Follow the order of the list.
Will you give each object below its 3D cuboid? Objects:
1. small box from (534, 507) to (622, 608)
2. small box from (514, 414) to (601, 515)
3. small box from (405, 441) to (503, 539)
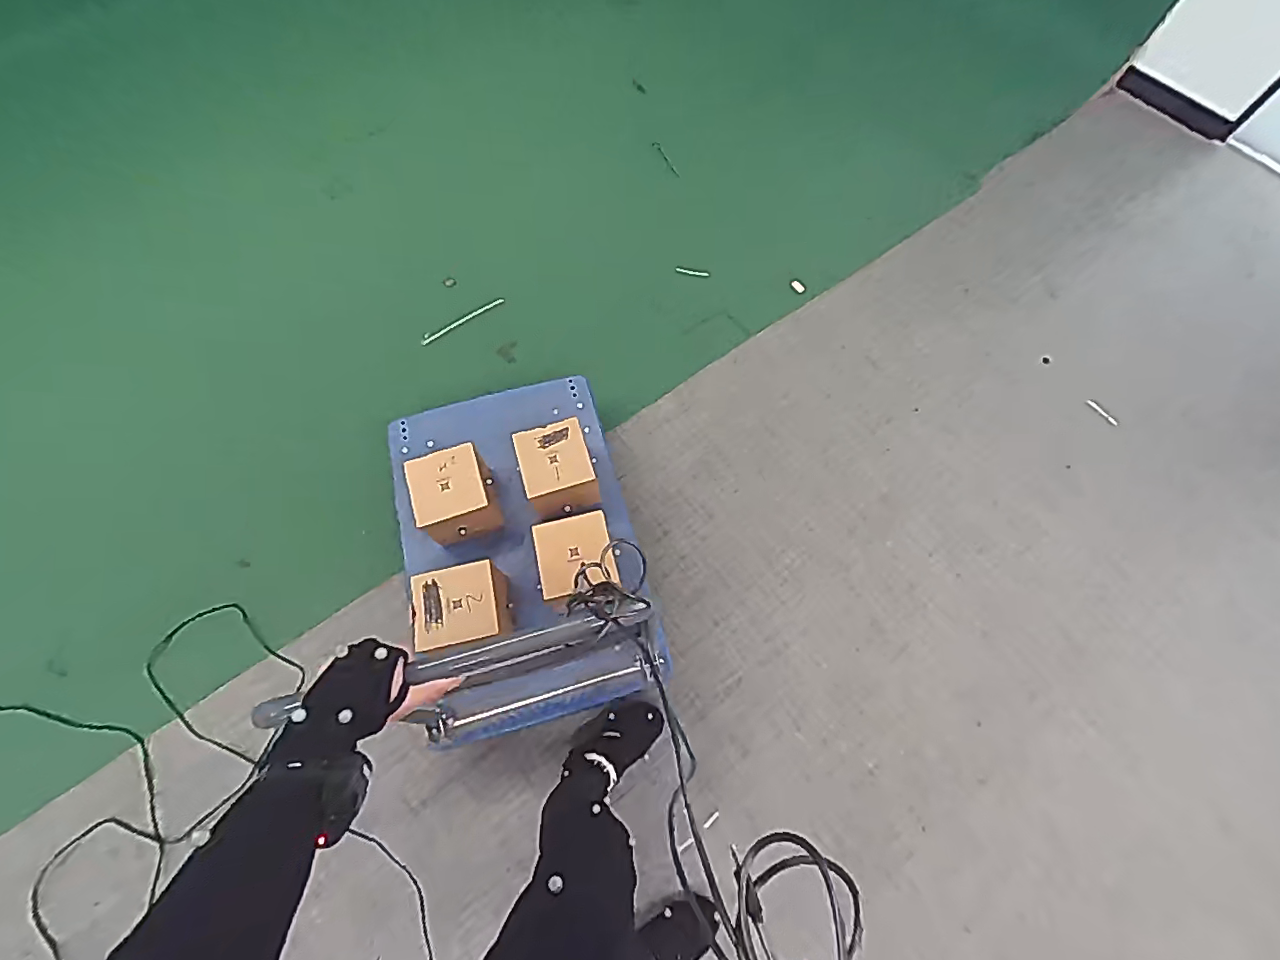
[{"bbox_3d":[-0.142,0.186,1.264,0.168,0.176,0.179,-13,69,-5],"label":"small box"},{"bbox_3d":[-0.203,-0.034,1.351,0.168,0.176,0.179,-17,70,-5],"label":"small box"},{"bbox_3d":[-0.450,0.033,1.329,0.168,0.176,0.179,-18,69,-7],"label":"small box"}]
